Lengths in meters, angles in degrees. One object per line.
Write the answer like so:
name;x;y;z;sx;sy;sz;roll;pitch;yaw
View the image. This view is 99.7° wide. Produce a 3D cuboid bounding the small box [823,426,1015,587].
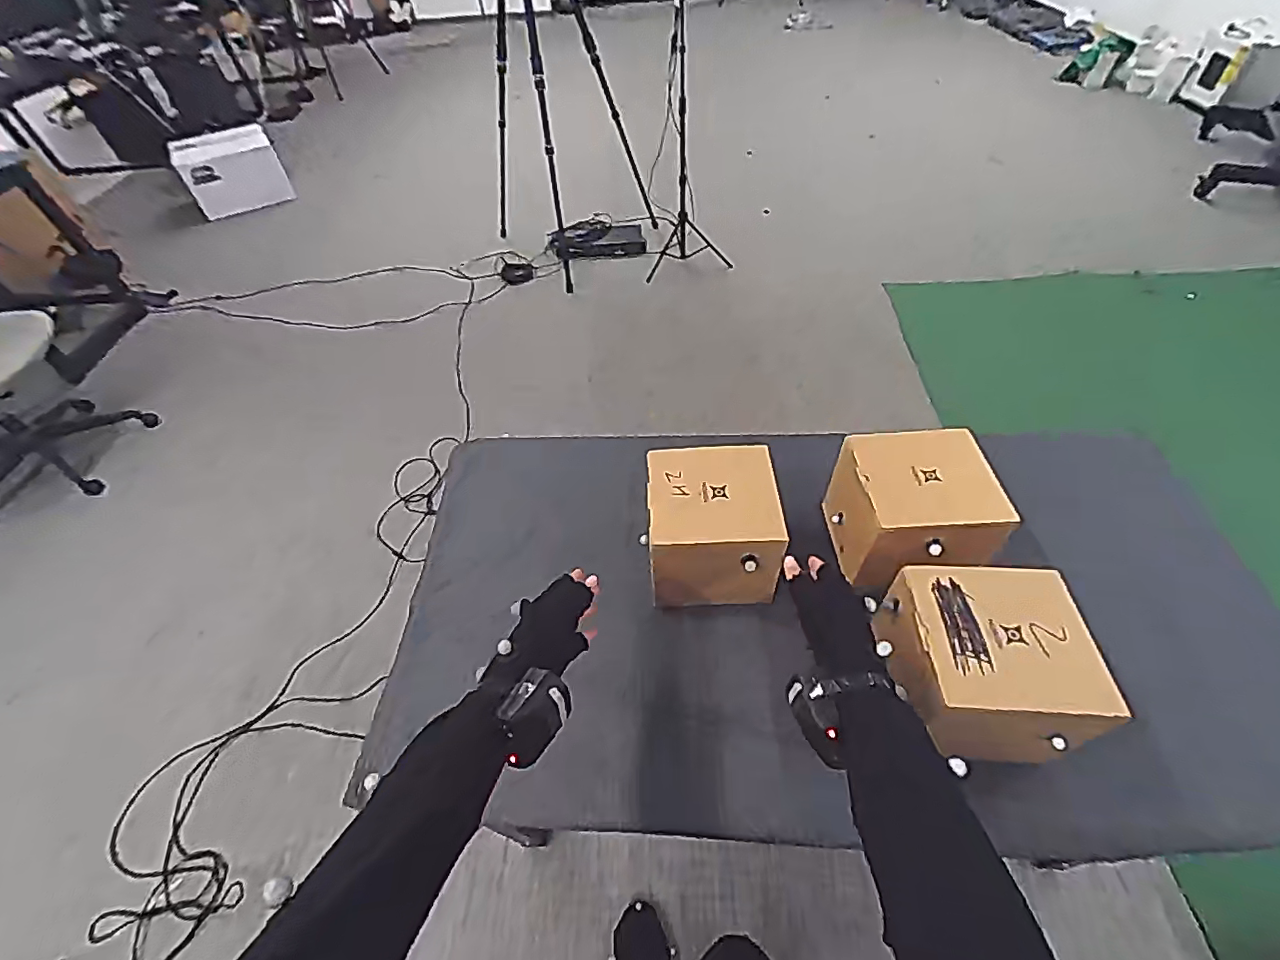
small box;0.382;0.042;0.781;0.179;0.176;0.168;-4;51;2
